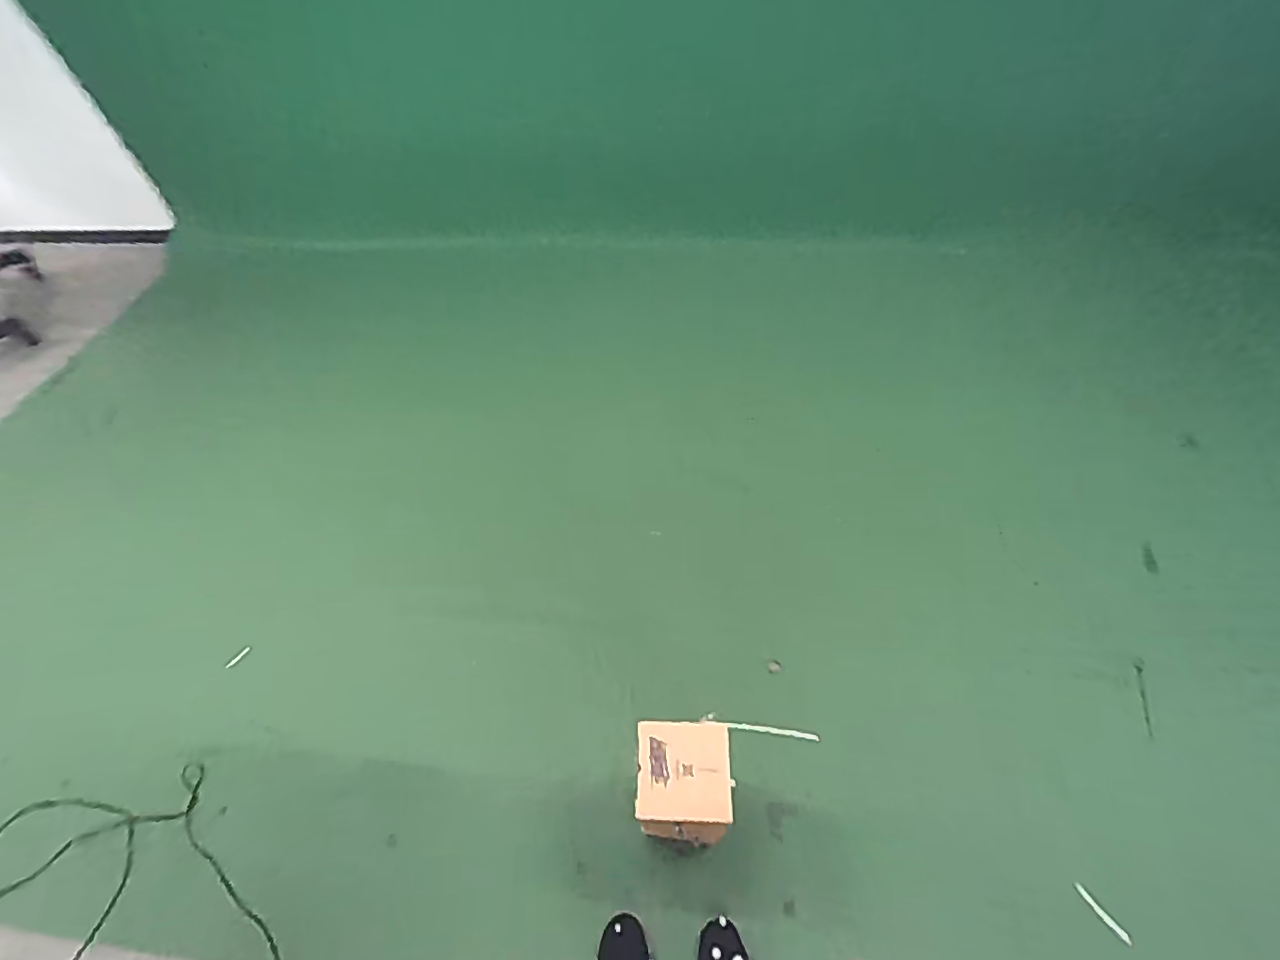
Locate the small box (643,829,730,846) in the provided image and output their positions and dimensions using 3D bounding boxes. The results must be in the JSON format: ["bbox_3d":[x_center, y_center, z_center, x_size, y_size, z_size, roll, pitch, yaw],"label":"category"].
[{"bbox_3d":[0.104,0.698,1.189,0.179,0.176,0.168,1,53,6],"label":"small box"}]

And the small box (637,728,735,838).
[{"bbox_3d":[0.090,0.598,1.060,0.179,0.176,0.168,0,53,4],"label":"small box"}]

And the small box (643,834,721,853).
[{"bbox_3d":[0.108,0.799,1.317,0.179,0.176,0.168,3,53,8],"label":"small box"}]
